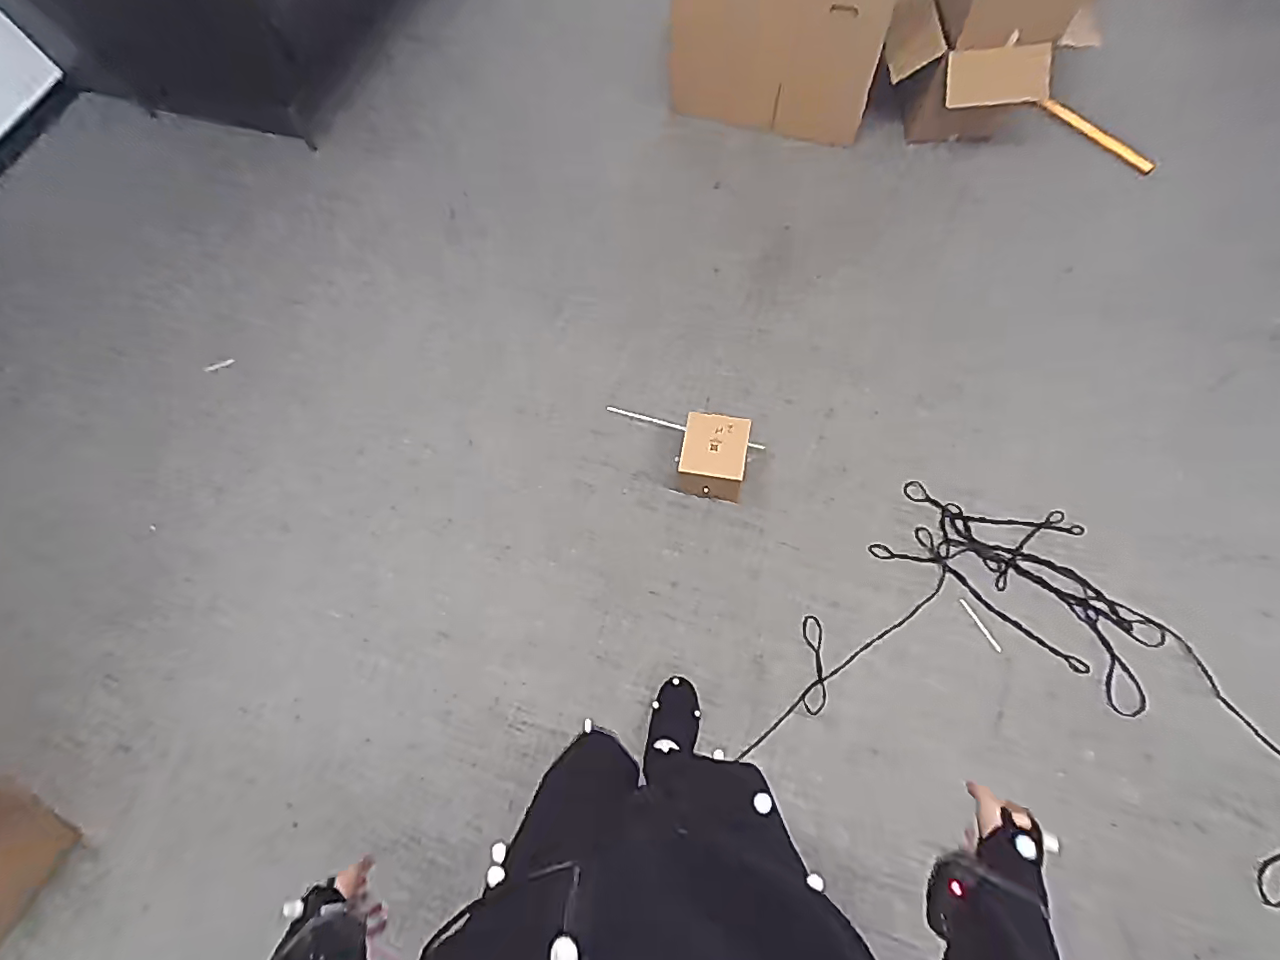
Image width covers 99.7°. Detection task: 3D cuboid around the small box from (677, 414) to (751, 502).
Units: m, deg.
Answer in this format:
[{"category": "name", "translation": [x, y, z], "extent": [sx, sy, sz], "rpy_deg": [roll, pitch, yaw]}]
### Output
[{"category": "small box", "translation": [0.199, -0.054, 1.456], "extent": [0.168, 0.176, 0.179], "rpy_deg": [10, 69, 9]}]
